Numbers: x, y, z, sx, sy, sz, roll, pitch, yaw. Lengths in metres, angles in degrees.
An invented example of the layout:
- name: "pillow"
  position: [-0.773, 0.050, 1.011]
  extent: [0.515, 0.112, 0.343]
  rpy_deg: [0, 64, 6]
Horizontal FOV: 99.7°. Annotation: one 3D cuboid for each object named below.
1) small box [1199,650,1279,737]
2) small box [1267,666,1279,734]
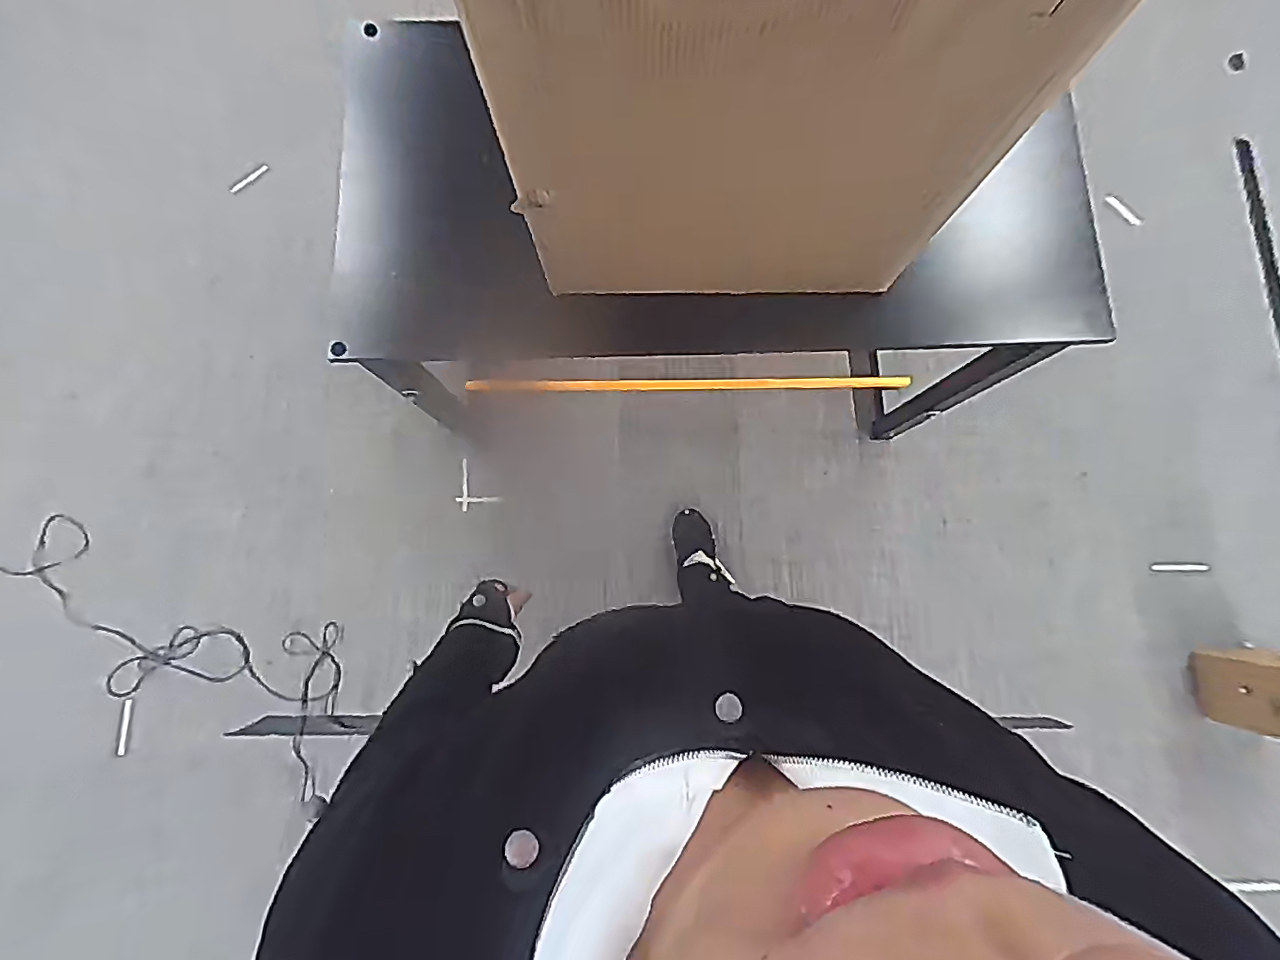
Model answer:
- name: "small box"
  position: [1.574, 0.529, 1.357]
  extent: [0.168, 0.176, 0.179]
  rpy_deg: [-5, 81, 0]
- name: "small box"
  position: [1.574, 0.508, 1.194]
  extent: [0.179, 0.176, 0.168]
  rpy_deg: [-1, 81, 0]
